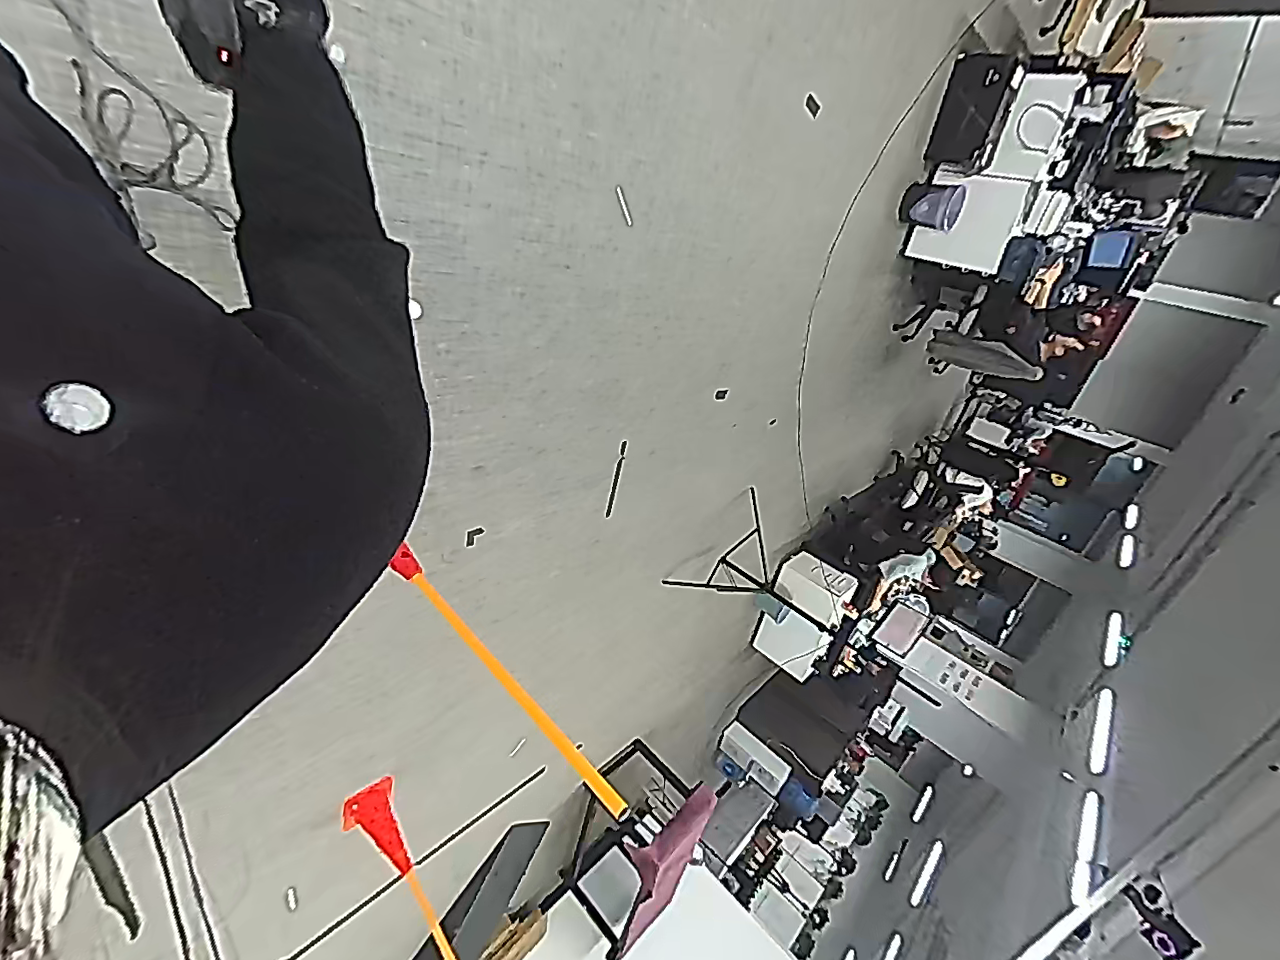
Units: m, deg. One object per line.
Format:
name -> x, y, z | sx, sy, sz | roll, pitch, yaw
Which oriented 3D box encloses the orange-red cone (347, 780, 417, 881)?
orange-red cone -> -0.979, 1.417, 2.129 | 0.198, 0.360, 0.199 | -13, 127, -47
